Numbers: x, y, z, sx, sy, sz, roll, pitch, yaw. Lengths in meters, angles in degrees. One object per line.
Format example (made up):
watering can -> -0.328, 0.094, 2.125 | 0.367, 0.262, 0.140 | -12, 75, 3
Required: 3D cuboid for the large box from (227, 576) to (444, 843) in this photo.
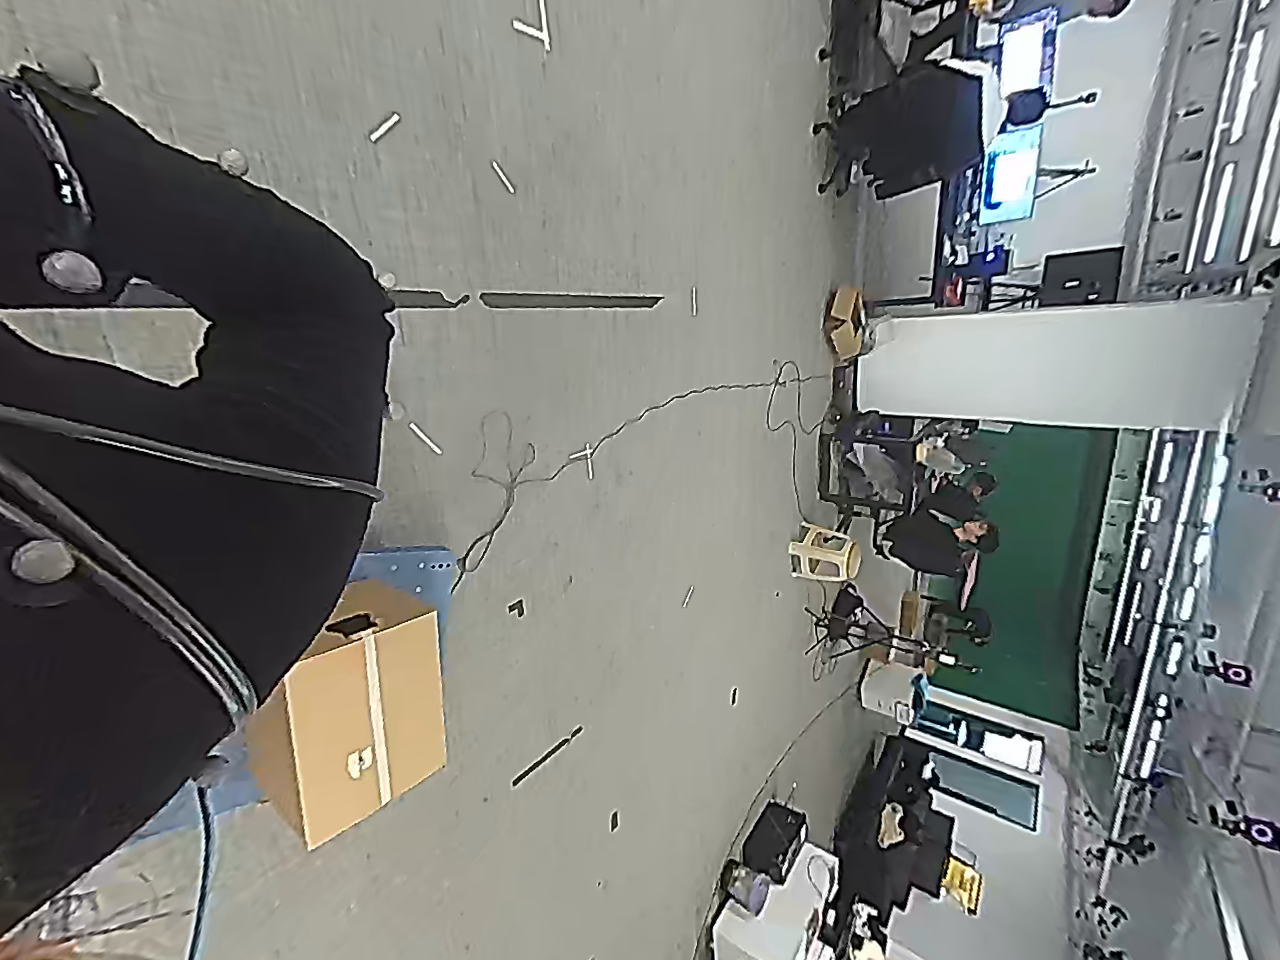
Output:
large box -> -0.678, 0.479, 1.226 | 0.320, 0.320, 0.408 | -14, 109, -50
